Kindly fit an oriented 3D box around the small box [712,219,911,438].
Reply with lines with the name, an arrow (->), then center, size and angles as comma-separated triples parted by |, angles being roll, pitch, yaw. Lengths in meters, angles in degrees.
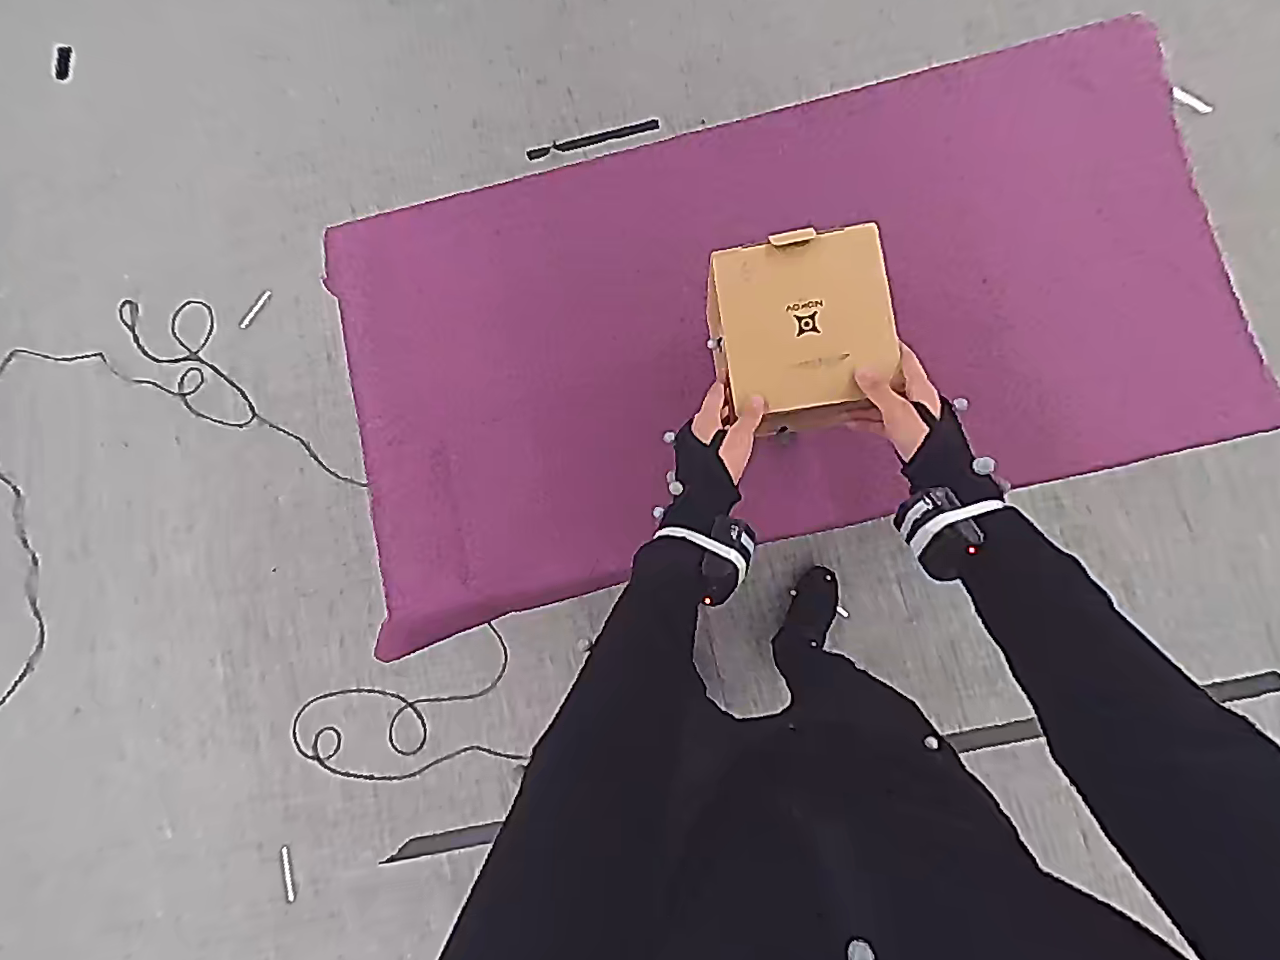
small box -> 0.173, -0.152, 0.602 | 0.168, 0.176, 0.179 | -8, 85, 6
